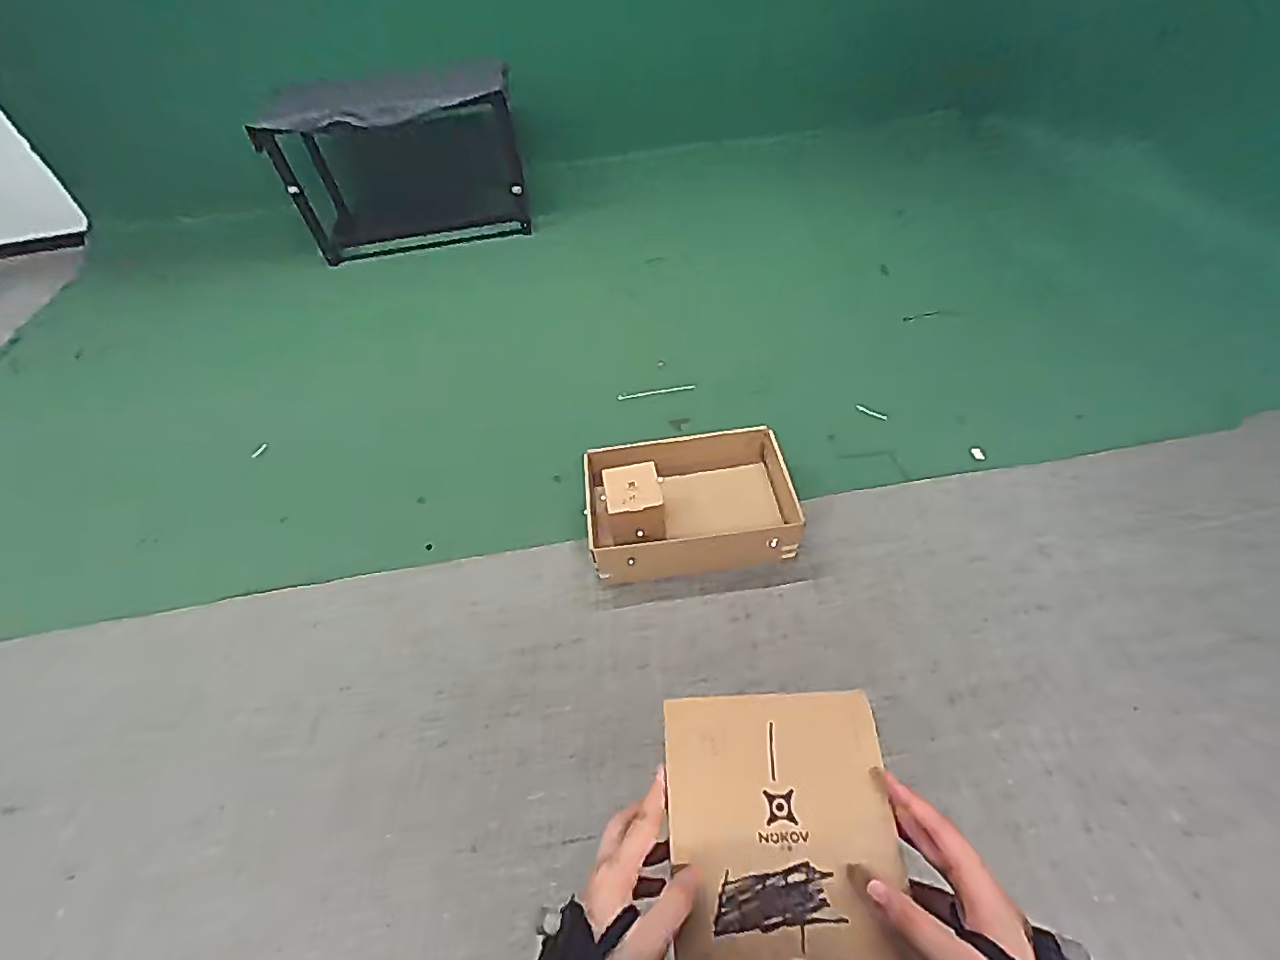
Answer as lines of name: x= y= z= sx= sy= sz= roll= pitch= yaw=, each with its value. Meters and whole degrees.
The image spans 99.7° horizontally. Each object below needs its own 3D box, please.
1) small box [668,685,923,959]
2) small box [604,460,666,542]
small box: x=0.111 y=0.278 z=0.467 sx=0.168 sy=0.176 sz=0.179 roll=-2 pitch=63 yaw=2
small box: x=-0.014 y=0.066 z=1.667 sx=0.168 sy=0.176 sz=0.179 roll=-10 pitch=51 yaw=-2
